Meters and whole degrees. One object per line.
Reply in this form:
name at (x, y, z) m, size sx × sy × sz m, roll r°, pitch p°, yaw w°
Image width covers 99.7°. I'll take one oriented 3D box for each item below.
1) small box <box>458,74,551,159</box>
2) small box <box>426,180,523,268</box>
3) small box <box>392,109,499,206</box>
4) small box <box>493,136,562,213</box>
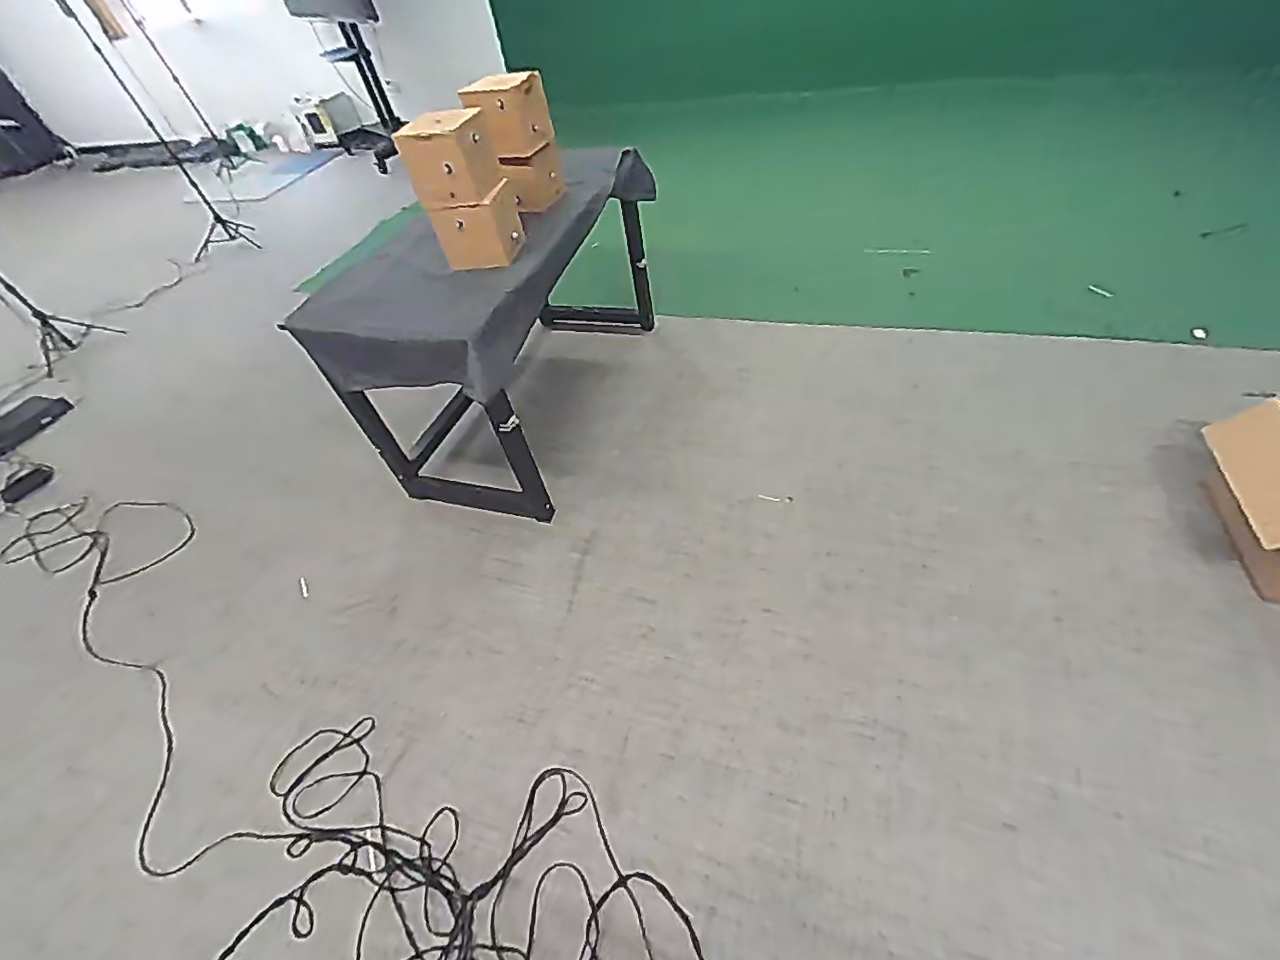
small box at (-0.385, -1.048, 1.563) m, size 0.179 × 0.176 × 0.168 m, roll 12°, pitch 52°, yaw 20°
small box at (-0.441, -0.692, 1.473) m, size 0.179 × 0.176 × 0.168 m, roll 1°, pitch 49°, yaw 11°
small box at (-0.478, -0.804, 1.361) m, size 0.168 × 0.176 × 0.179 m, roll 5°, pitch 48°, yaw 13°
small box at (-0.366, -0.959, 1.702) m, size 0.179 × 0.176 × 0.168 m, roll 9°, pitch 51°, yaw 18°
